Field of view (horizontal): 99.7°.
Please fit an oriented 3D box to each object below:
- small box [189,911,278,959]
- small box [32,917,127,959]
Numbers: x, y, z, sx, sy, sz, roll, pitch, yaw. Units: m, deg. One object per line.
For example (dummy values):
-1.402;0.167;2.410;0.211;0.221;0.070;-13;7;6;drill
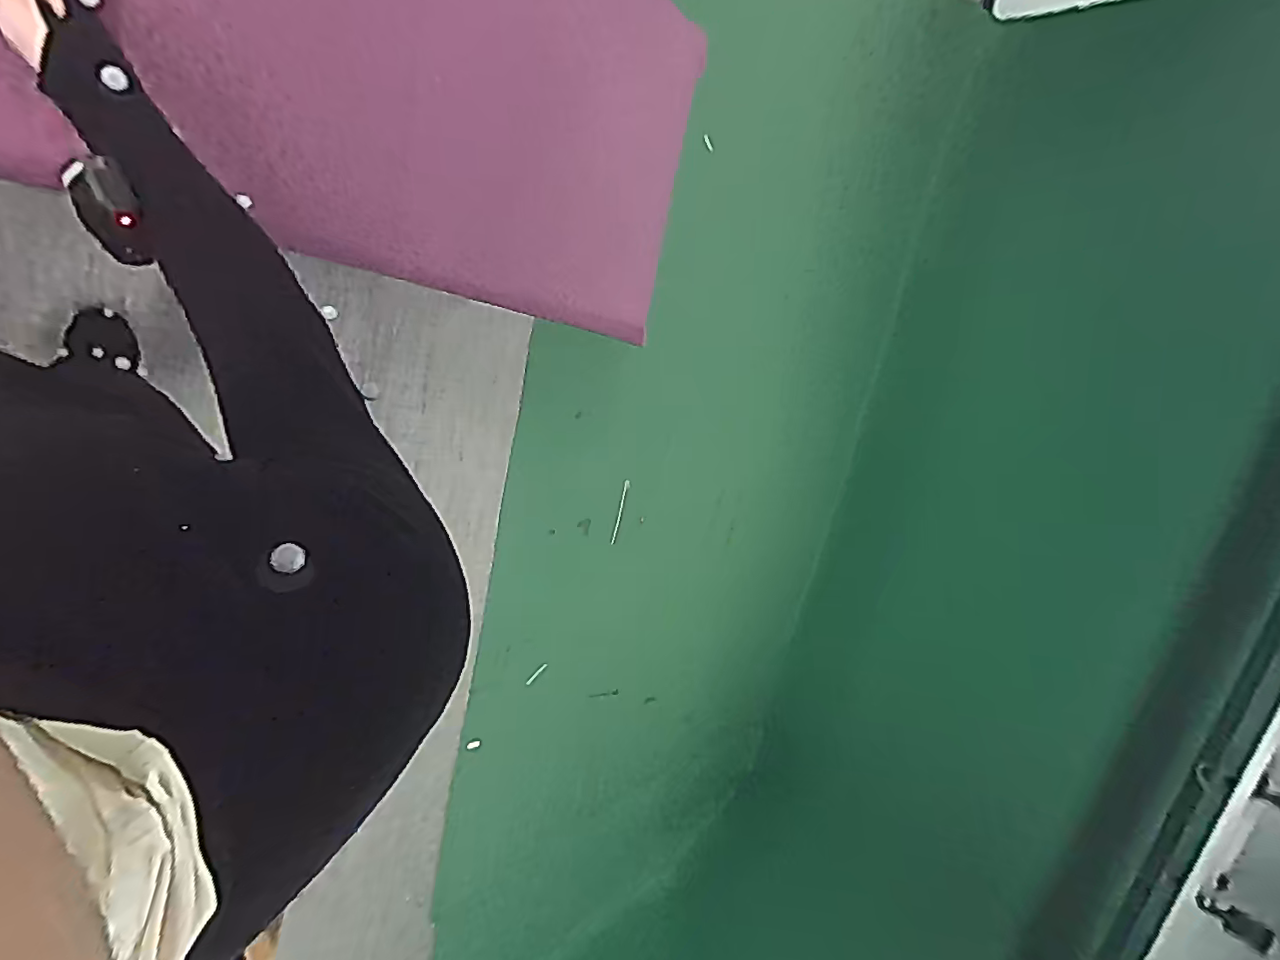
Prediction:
-1.116;1.344;1.473;0.168;0.176;0.179;6;103;-48;small box
-1.416;1.273;1.361;0.168;0.176;0.179;5;103;-50;small box
